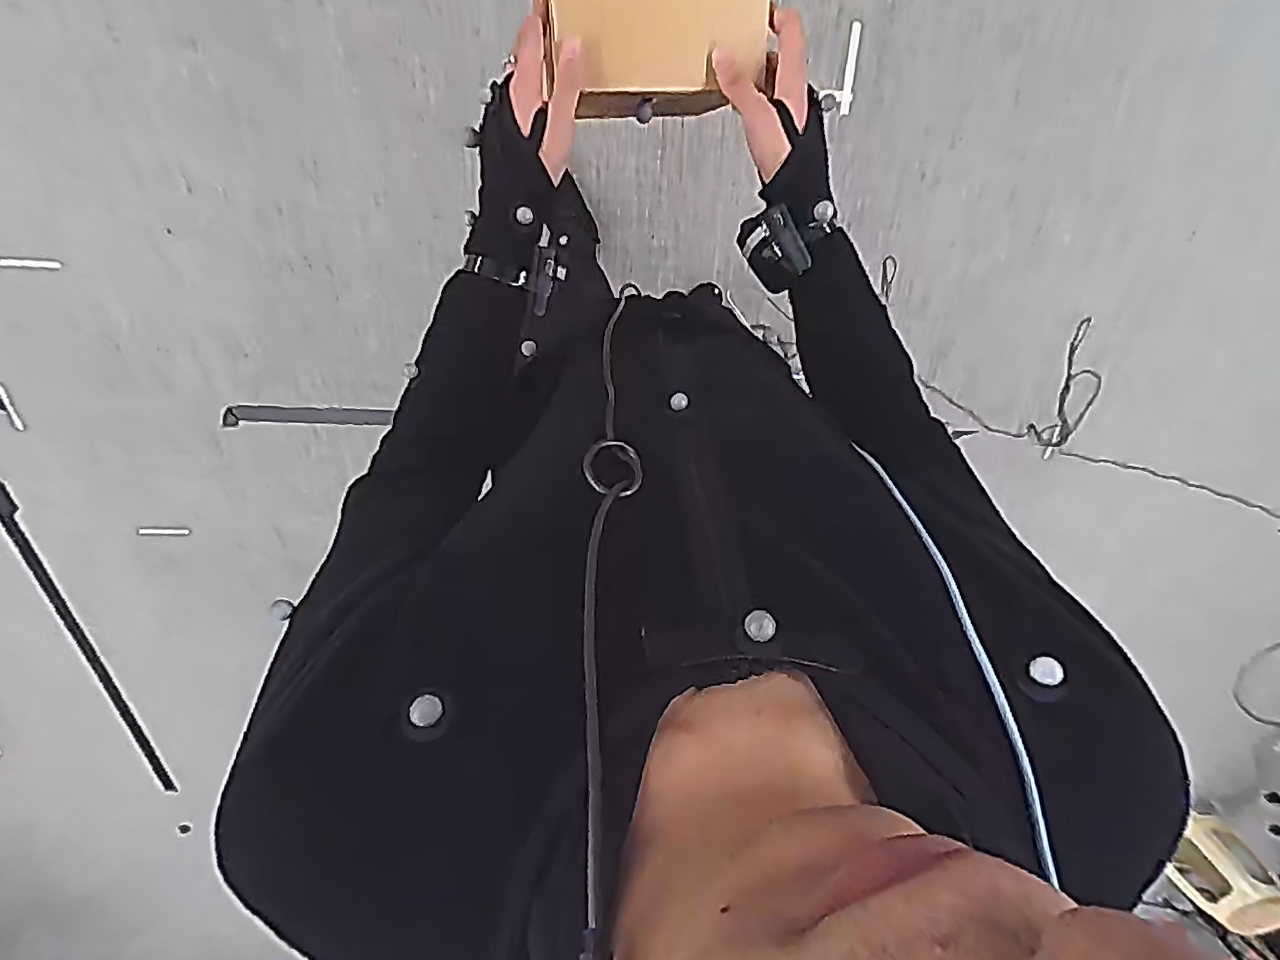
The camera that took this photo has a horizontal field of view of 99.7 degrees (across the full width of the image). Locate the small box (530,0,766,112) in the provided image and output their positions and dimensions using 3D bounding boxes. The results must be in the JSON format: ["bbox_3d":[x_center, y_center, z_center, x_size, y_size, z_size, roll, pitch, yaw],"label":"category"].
[{"bbox_3d":[-0.003,-0.427,0.468,0.179,0.176,0.168,-7,119,-10],"label":"small box"}]
